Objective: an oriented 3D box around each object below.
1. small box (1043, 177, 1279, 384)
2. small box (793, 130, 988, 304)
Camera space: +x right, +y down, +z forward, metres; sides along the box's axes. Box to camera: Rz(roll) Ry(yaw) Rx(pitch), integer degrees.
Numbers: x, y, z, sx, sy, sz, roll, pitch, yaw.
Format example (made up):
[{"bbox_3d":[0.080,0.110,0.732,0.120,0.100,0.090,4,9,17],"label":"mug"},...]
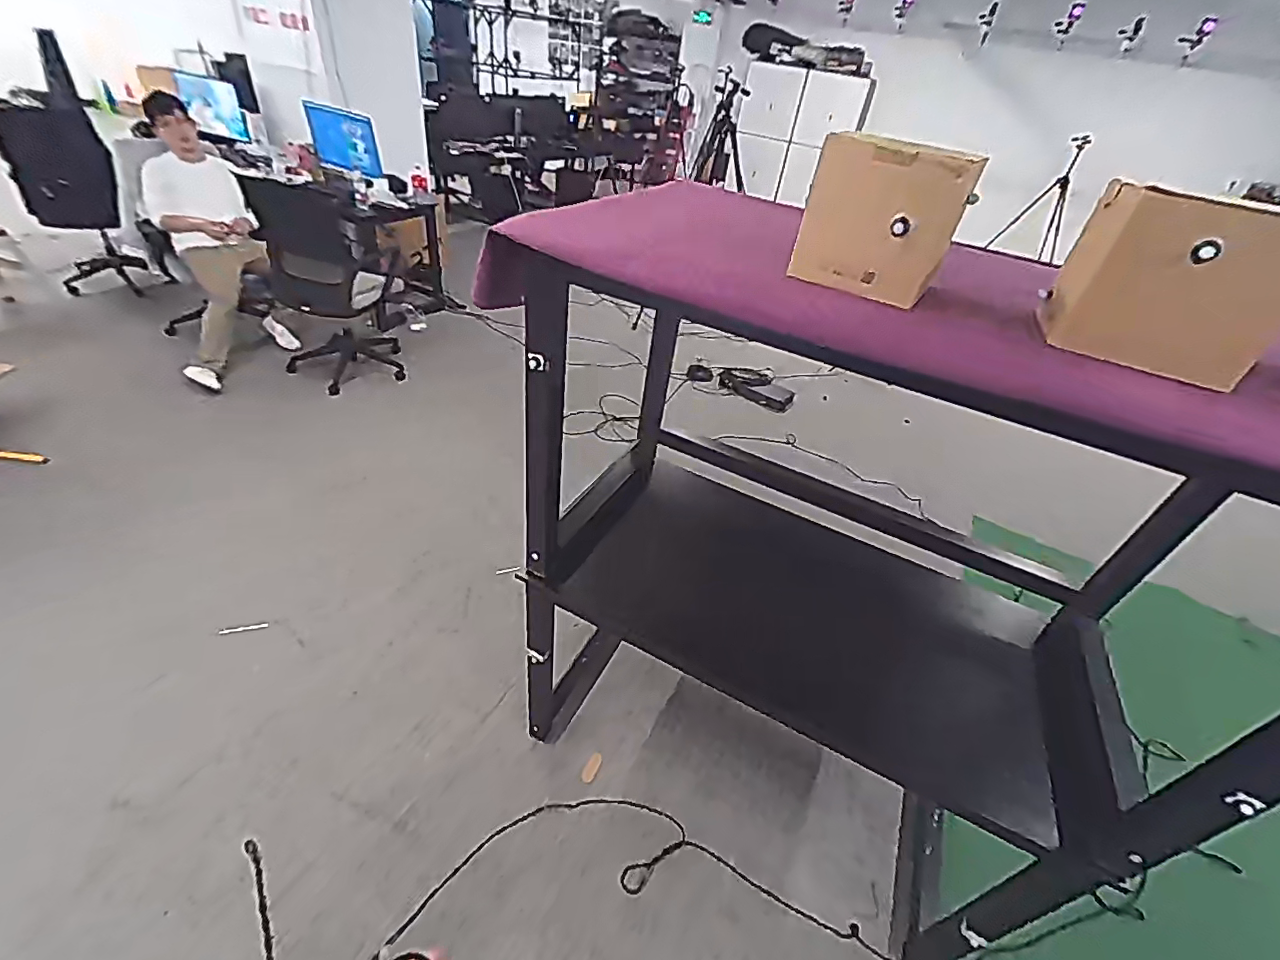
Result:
[{"bbox_3d":[0.592,-0.228,0.611,0.179,0.176,0.168,23,39,17],"label":"small box"},{"bbox_3d":[0.318,-0.344,0.706,0.168,0.176,0.179,28,41,22],"label":"small box"}]
